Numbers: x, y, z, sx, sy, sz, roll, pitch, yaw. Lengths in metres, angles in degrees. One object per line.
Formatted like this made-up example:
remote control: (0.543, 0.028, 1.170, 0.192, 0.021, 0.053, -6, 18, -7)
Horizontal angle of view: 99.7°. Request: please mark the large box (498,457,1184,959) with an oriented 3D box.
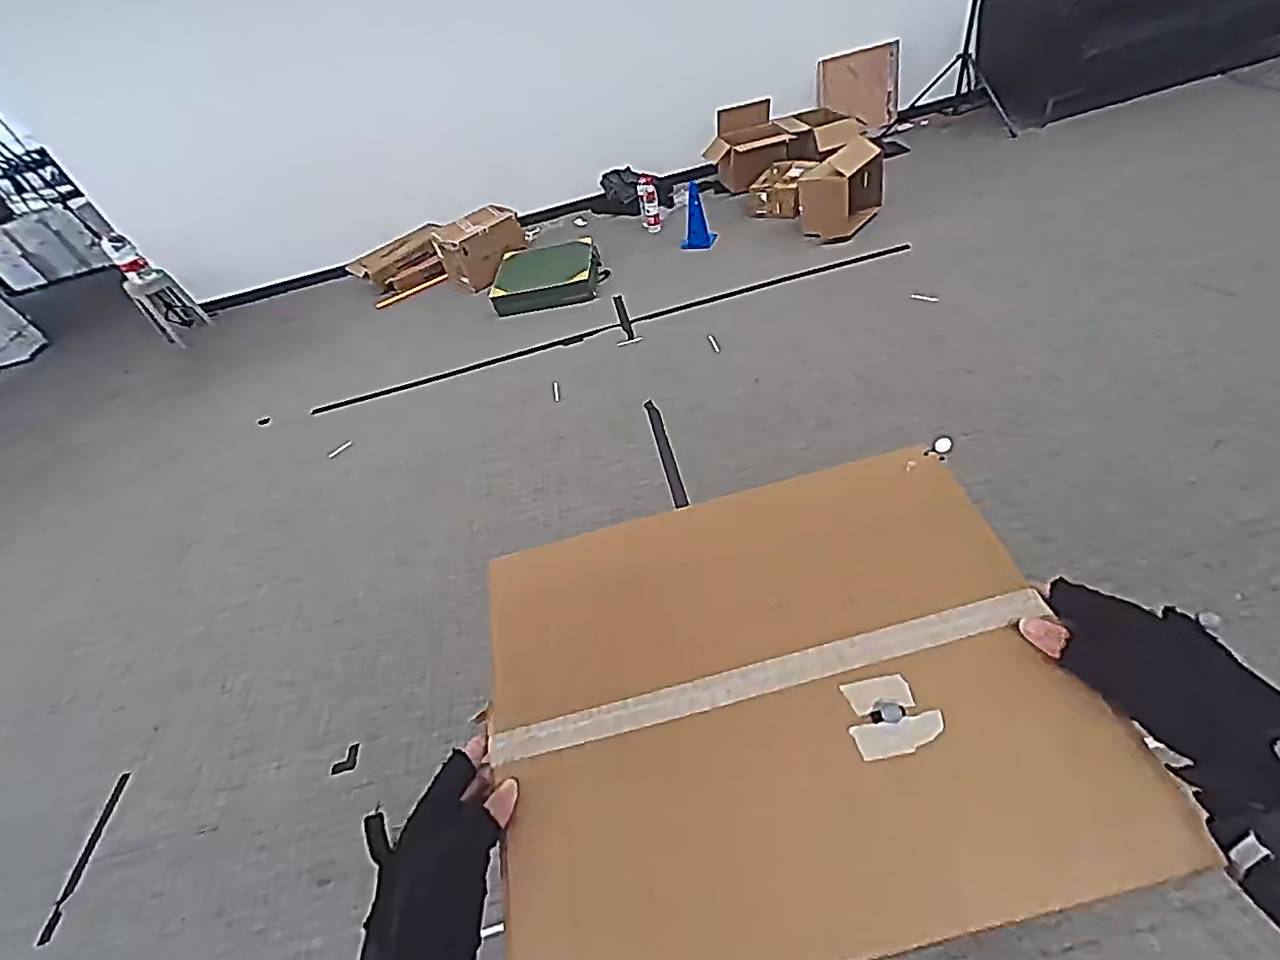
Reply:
large box: (0.117, 0.236, 0.518, 0.408, 0.320, 0.320, -16, 54, 0)
